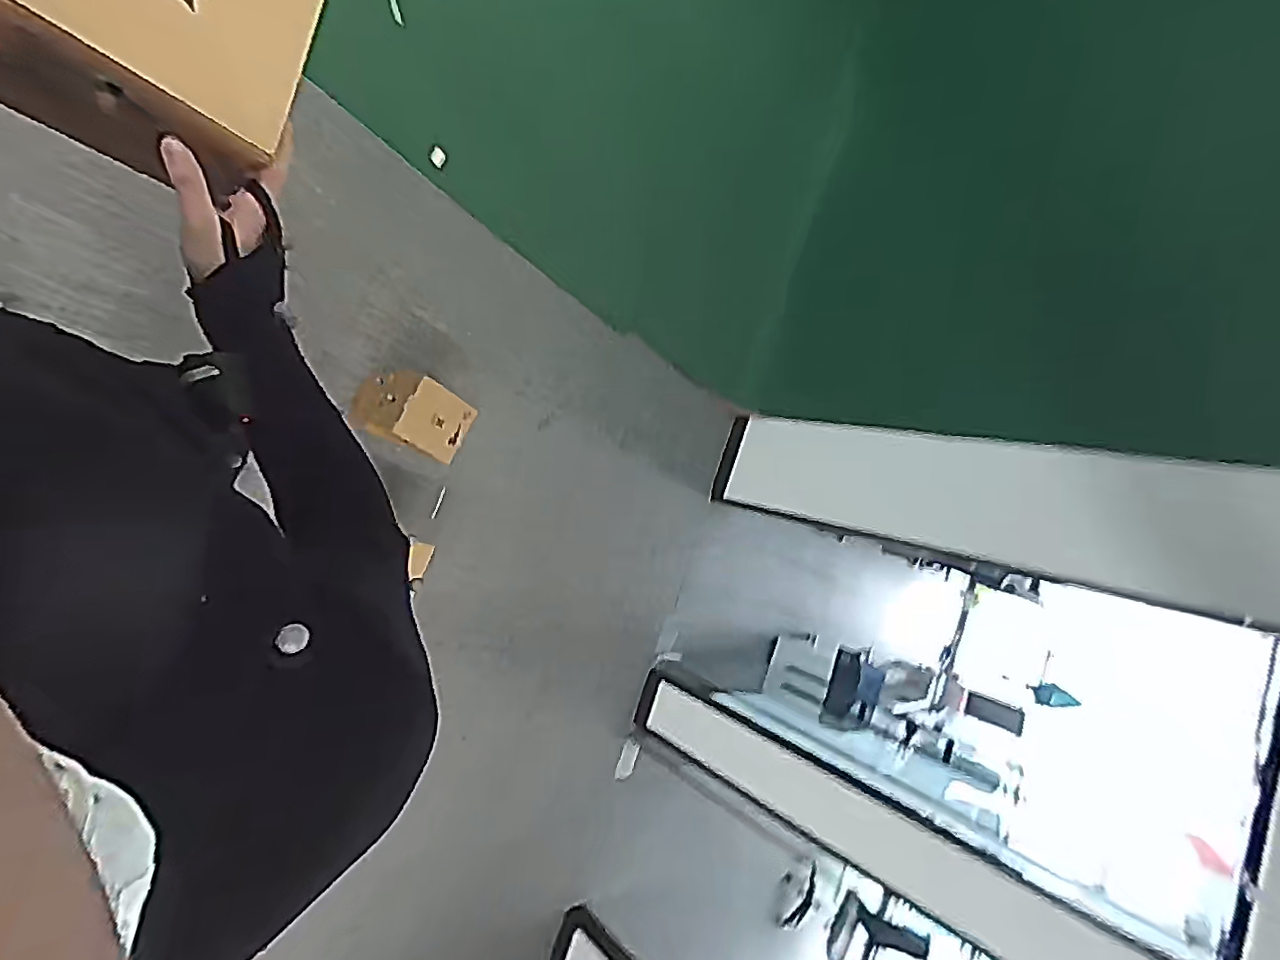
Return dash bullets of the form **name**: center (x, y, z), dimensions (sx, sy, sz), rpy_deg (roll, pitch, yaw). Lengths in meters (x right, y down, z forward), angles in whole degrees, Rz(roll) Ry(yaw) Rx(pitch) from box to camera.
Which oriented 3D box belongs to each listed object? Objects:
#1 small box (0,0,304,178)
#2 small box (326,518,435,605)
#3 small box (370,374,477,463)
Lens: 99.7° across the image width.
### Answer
- **small box**: center (-0.411, -0.380, 0.440), dimensions (0.179, 0.176, 0.168), rpy_deg (18, 78, -48)
- **small box**: center (-0.681, 0.208, 1.411), dimensions (0.179, 0.176, 0.168), rpy_deg (31, 77, -46)
- **small box**: center (-0.576, -0.165, 1.432), dimensions (0.179, 0.176, 0.168), rpy_deg (38, 73, -44)
